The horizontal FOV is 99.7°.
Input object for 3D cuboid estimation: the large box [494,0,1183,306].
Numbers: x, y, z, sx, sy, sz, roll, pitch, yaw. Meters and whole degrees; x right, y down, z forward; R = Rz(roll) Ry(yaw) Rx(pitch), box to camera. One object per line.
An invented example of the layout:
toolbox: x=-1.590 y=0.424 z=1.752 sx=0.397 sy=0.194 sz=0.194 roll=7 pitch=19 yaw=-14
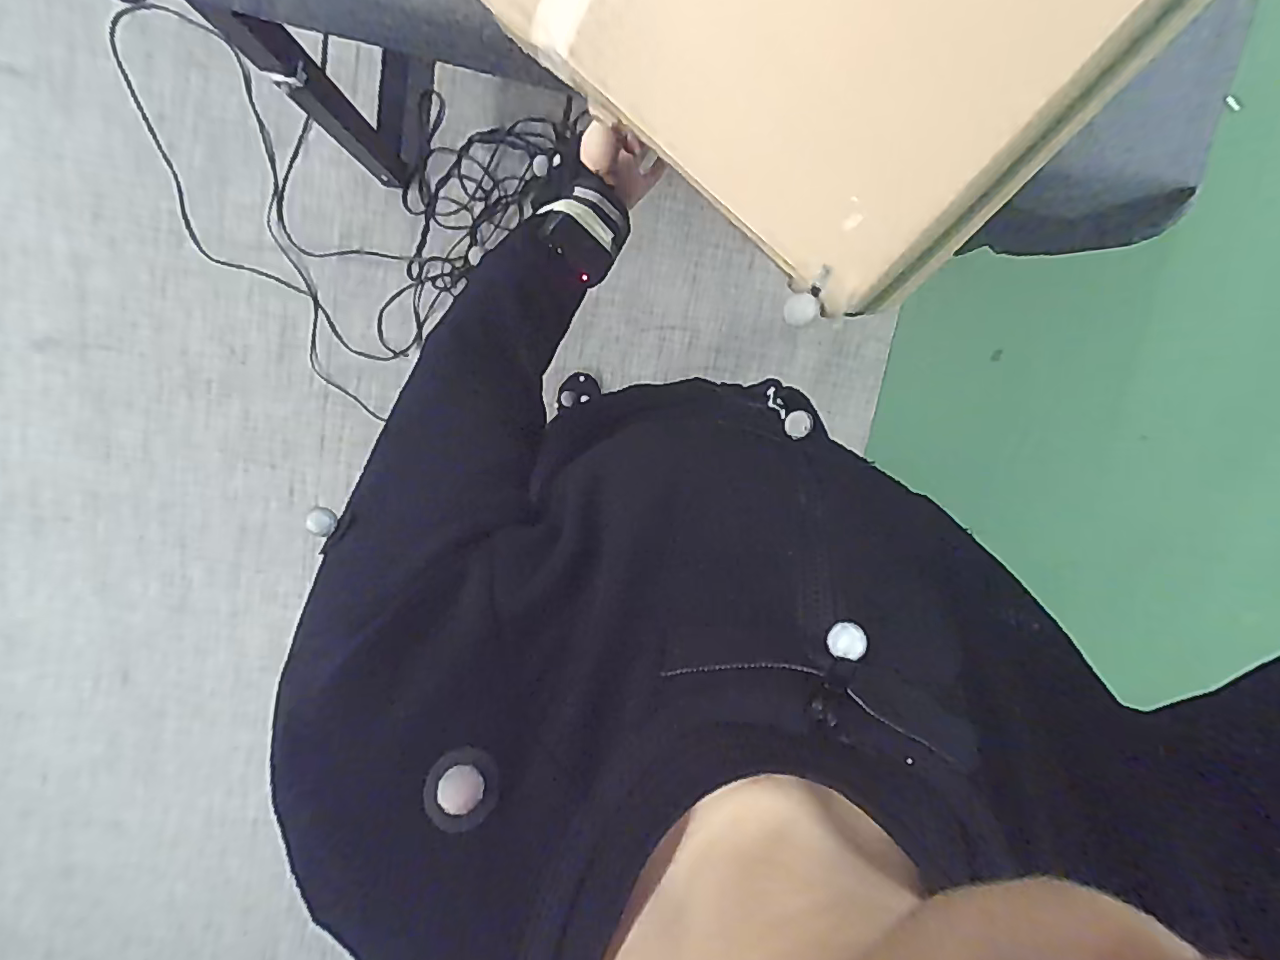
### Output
large box: x=0.157 y=-0.348 z=0.257 sx=0.320 sy=0.320 sz=0.408 roll=45 pitch=122 yaw=9
